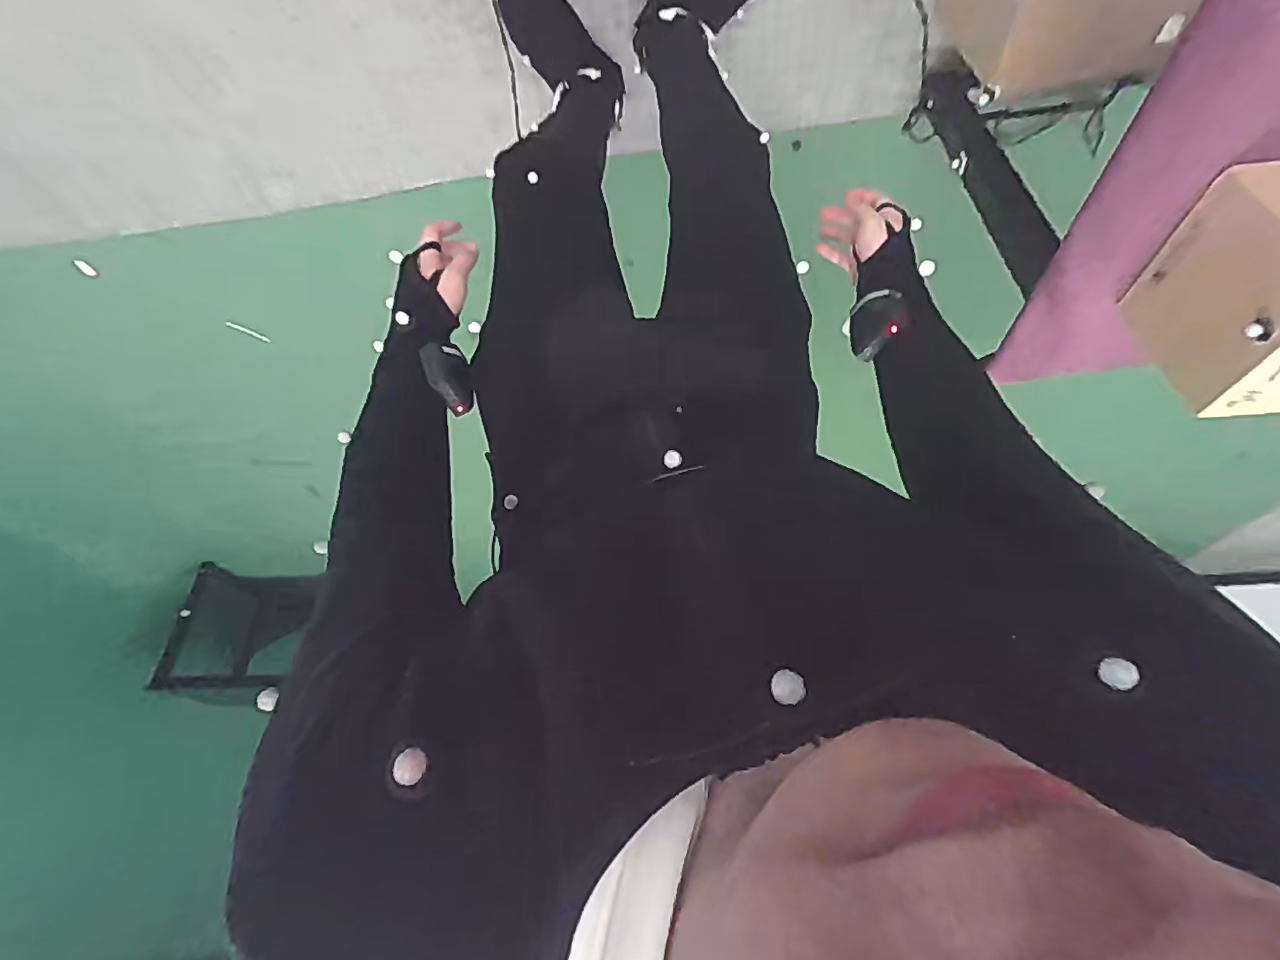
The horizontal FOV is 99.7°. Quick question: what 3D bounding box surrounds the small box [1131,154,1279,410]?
[{"bbox_3d":[0.638,-0.189,0.506,0.179,0.176,0.168,-6,147,5],"label":"small box"}]
